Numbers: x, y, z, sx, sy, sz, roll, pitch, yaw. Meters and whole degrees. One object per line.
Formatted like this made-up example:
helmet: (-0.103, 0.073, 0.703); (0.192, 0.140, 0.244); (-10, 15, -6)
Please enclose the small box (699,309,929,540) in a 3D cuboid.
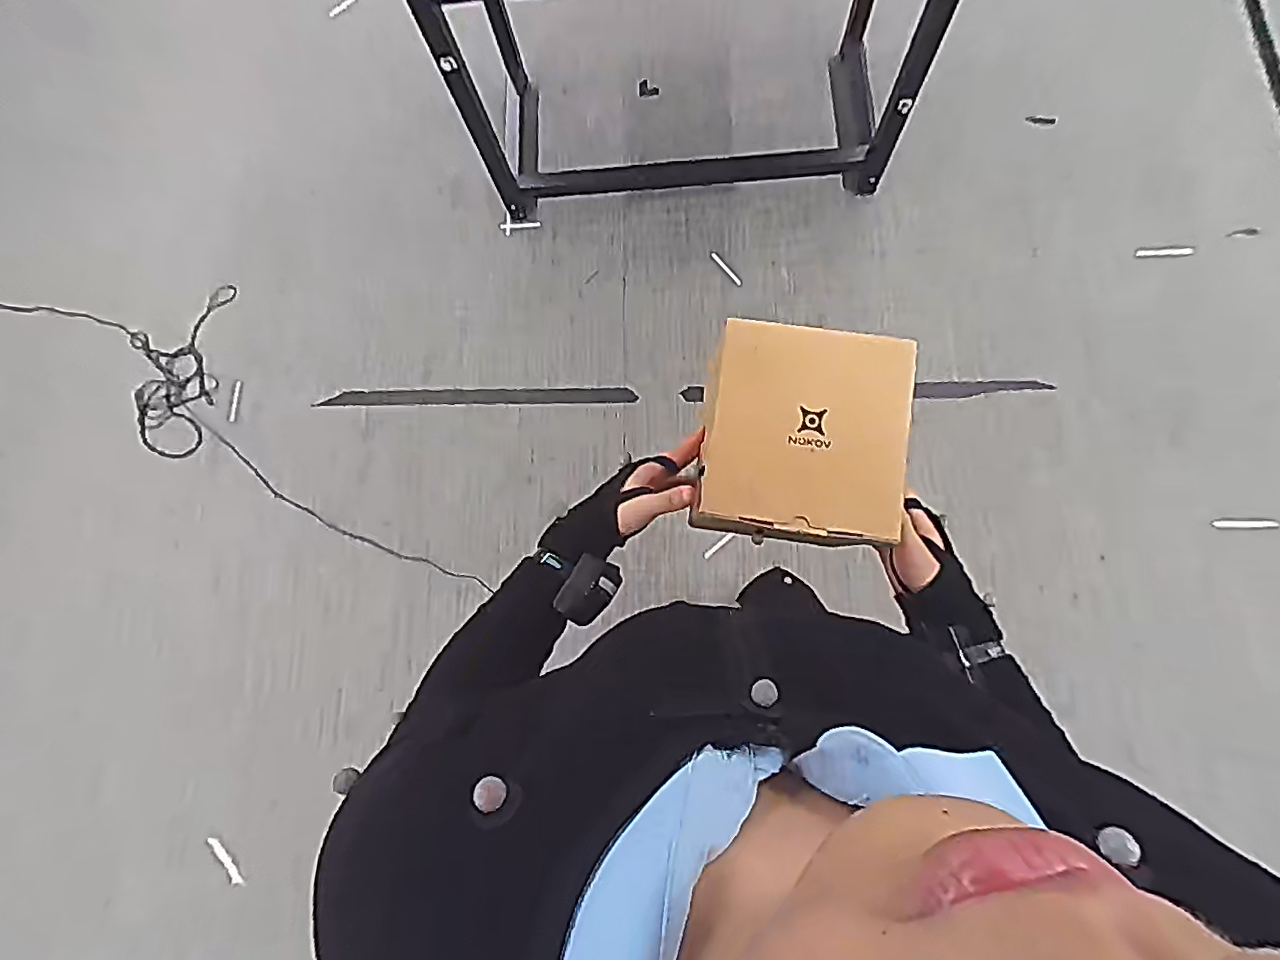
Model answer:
small box: (0.153, -0.040, 0.527); (0.168, 0.176, 0.179); (8, 83, 2)
